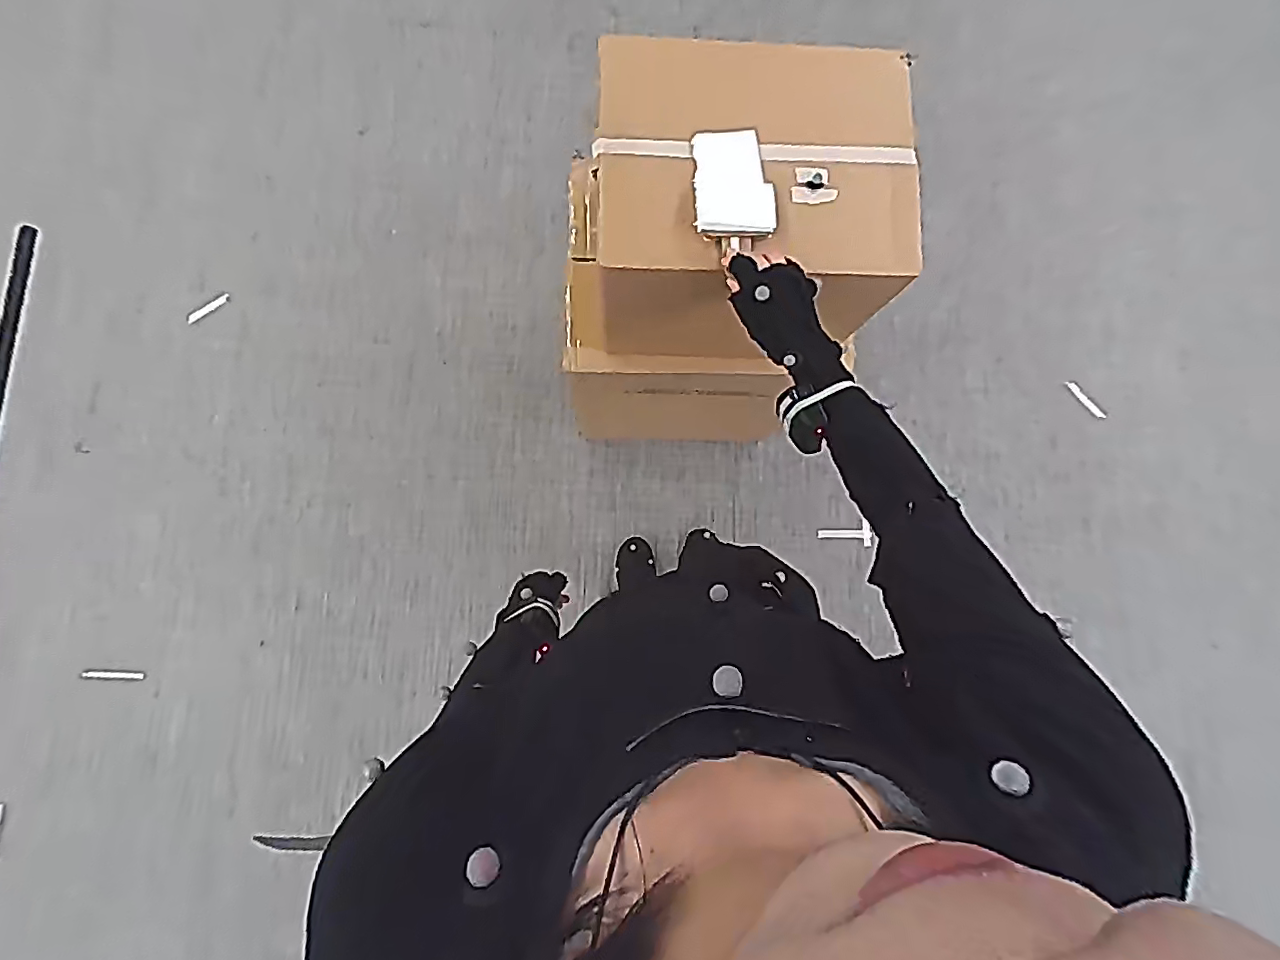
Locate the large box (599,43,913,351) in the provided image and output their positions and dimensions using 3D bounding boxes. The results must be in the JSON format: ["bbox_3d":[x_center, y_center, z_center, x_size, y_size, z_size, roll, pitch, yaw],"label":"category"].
[{"bbox_3d":[0.140,-0.402,0.845,0.408,0.320,0.320,0,84,-4],"label":"large box"}]
